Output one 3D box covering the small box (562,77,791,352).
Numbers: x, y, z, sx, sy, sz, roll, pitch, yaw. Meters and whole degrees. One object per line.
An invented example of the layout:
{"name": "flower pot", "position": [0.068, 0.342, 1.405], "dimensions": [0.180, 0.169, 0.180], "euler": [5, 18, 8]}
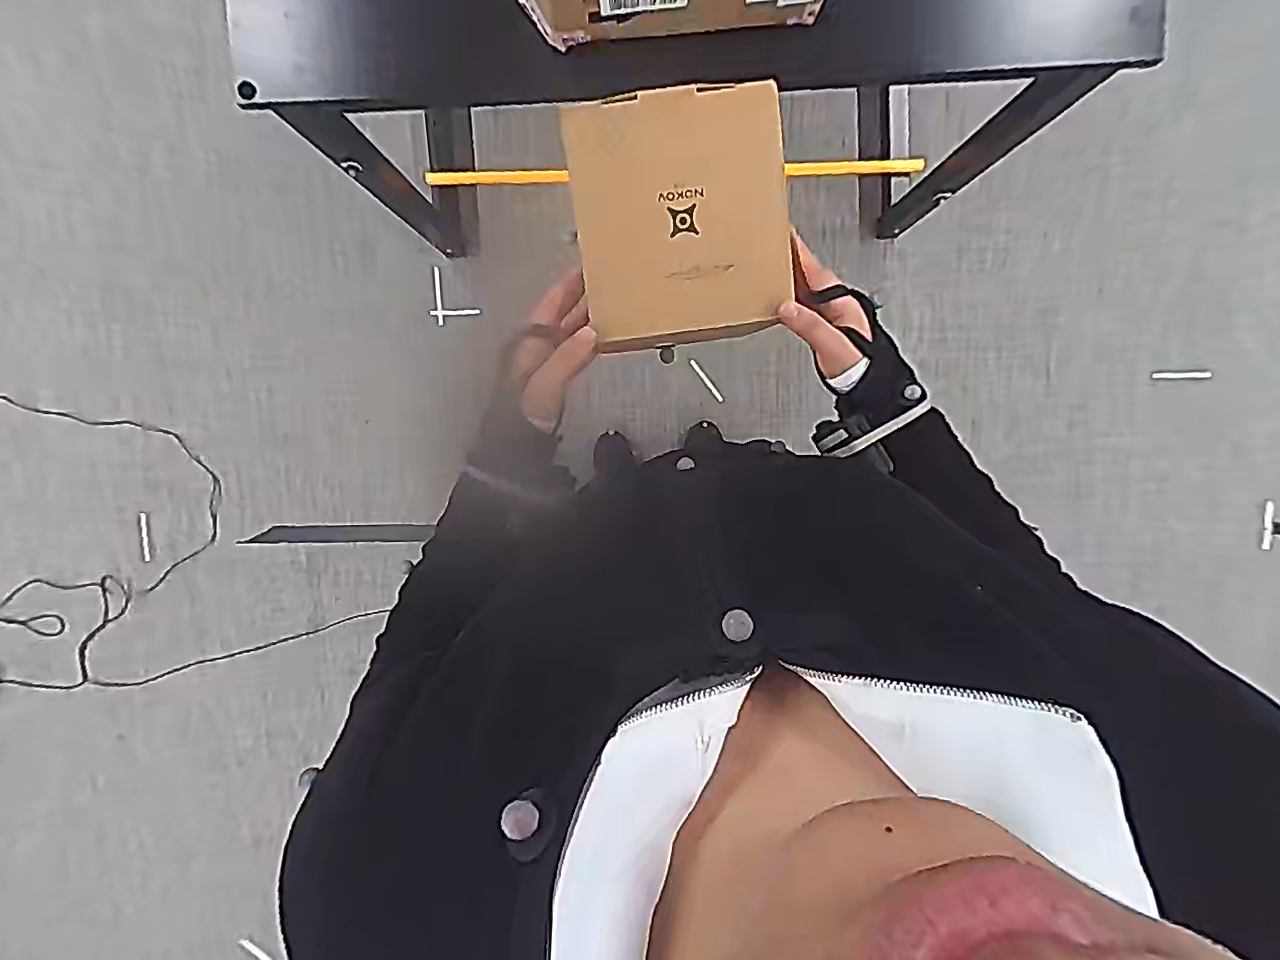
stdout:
{"name": "small box", "position": [0.027, -0.219, 0.494], "dimensions": [0.168, 0.176, 0.179], "euler": [-8, 100, -1]}
